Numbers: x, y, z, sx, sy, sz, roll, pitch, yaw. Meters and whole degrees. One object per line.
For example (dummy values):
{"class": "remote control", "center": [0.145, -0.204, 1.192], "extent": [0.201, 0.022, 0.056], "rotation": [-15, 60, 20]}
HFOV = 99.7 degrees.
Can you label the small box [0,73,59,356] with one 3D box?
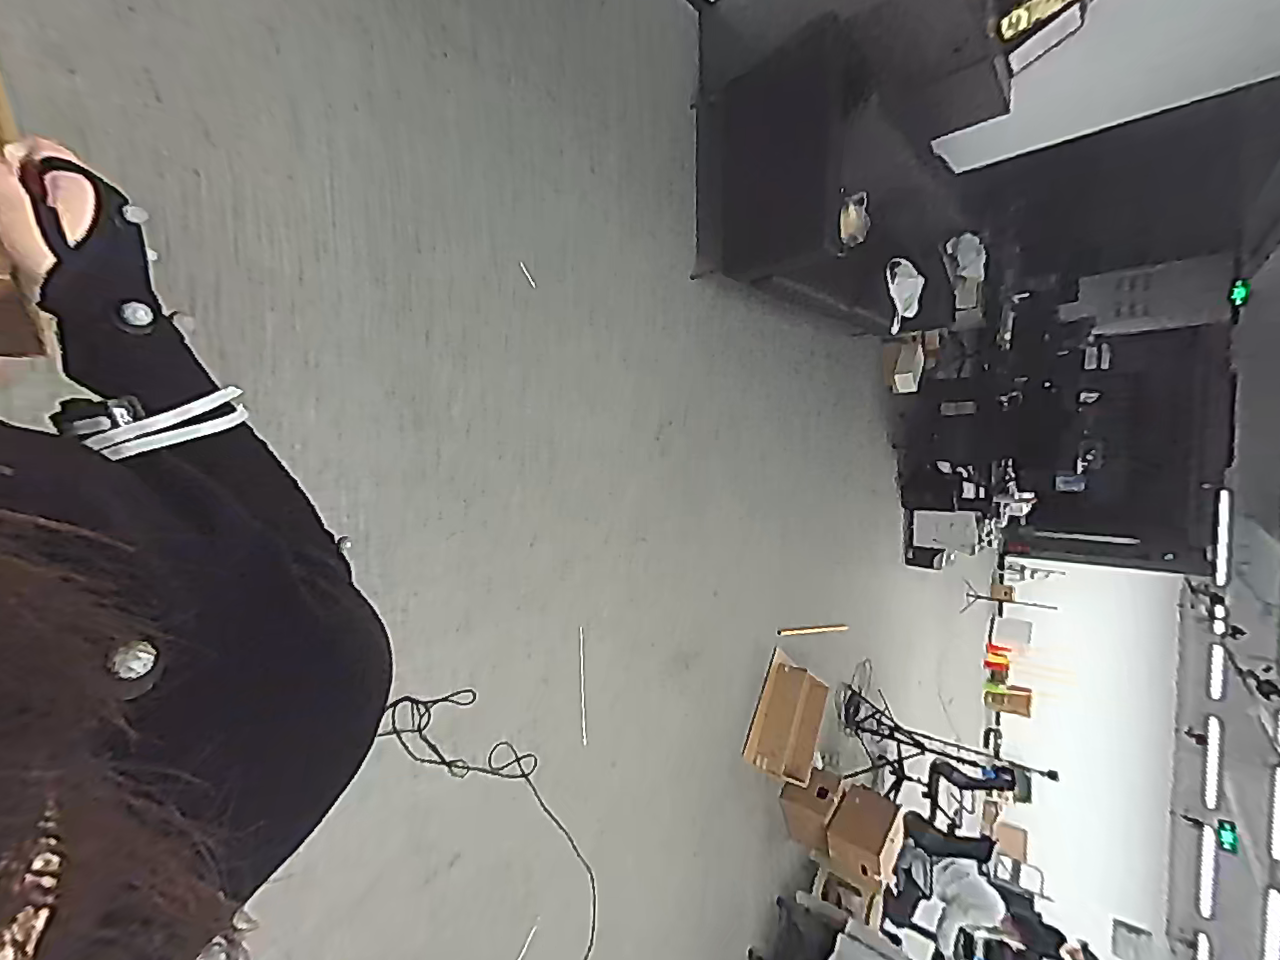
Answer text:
{"class": "small box", "center": [-0.513, -0.187, 0.349], "extent": [0.168, 0.176, 0.179], "rotation": [-8, 89, -43]}
